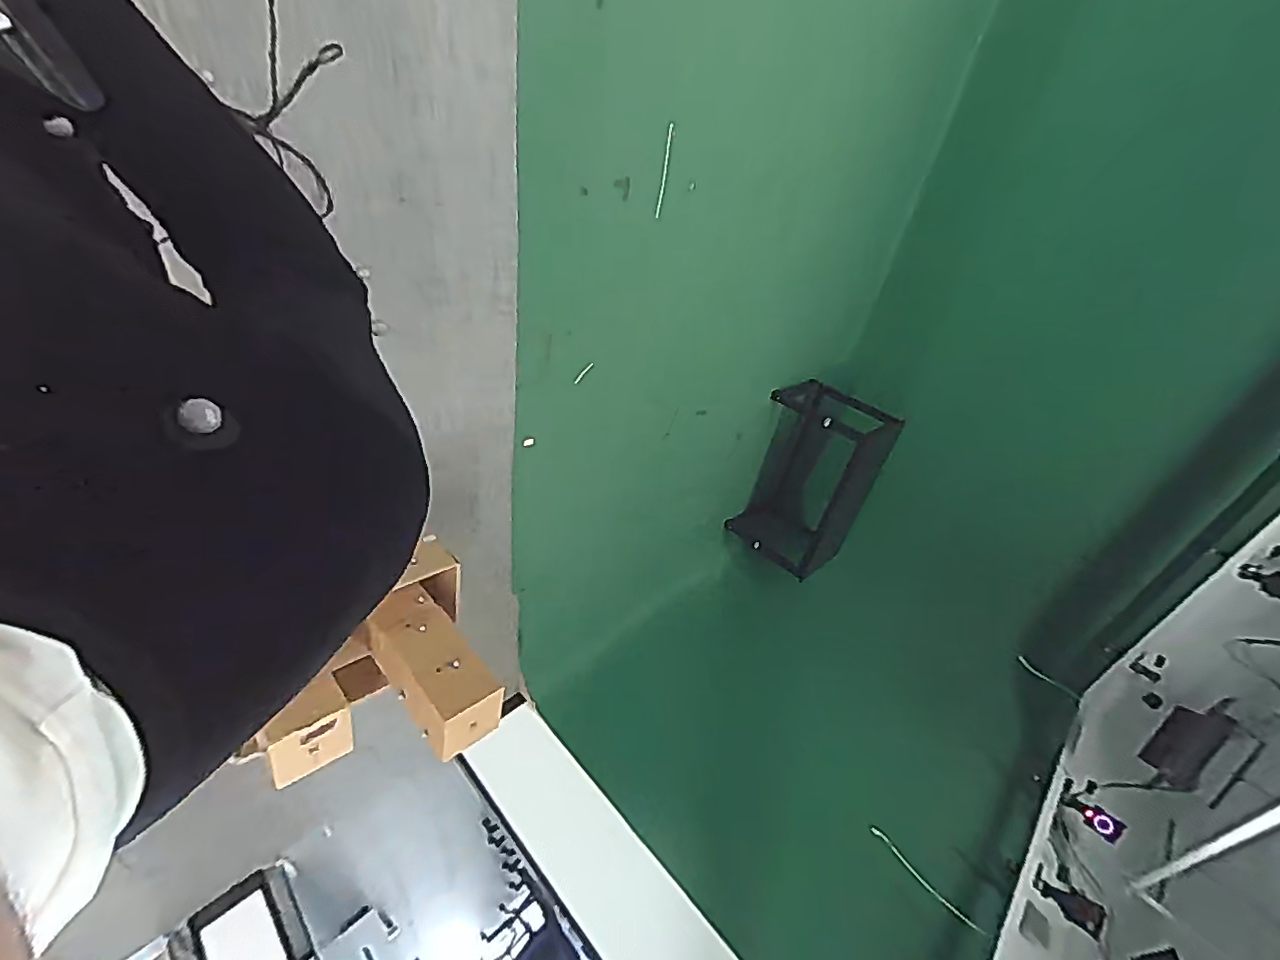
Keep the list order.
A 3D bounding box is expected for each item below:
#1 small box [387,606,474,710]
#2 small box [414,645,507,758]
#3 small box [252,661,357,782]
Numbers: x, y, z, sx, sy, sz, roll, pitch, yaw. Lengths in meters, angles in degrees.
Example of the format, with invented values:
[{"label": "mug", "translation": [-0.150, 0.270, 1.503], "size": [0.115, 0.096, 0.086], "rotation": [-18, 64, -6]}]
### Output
[{"label": "small box", "translation": [-0.577, 0.481, 1.482], "size": [0.168, 0.176, 0.179], "rotation": [-19, 134, -43]}, {"label": "small box", "translation": [-0.466, 0.564, 1.395], "size": [0.168, 0.176, 0.179], "rotation": [-20, 135, -43]}, {"label": "small box", "translation": [-0.793, 0.559, 1.281], "size": [0.168, 0.176, 0.179], "rotation": [-18, 134, -42]}]
